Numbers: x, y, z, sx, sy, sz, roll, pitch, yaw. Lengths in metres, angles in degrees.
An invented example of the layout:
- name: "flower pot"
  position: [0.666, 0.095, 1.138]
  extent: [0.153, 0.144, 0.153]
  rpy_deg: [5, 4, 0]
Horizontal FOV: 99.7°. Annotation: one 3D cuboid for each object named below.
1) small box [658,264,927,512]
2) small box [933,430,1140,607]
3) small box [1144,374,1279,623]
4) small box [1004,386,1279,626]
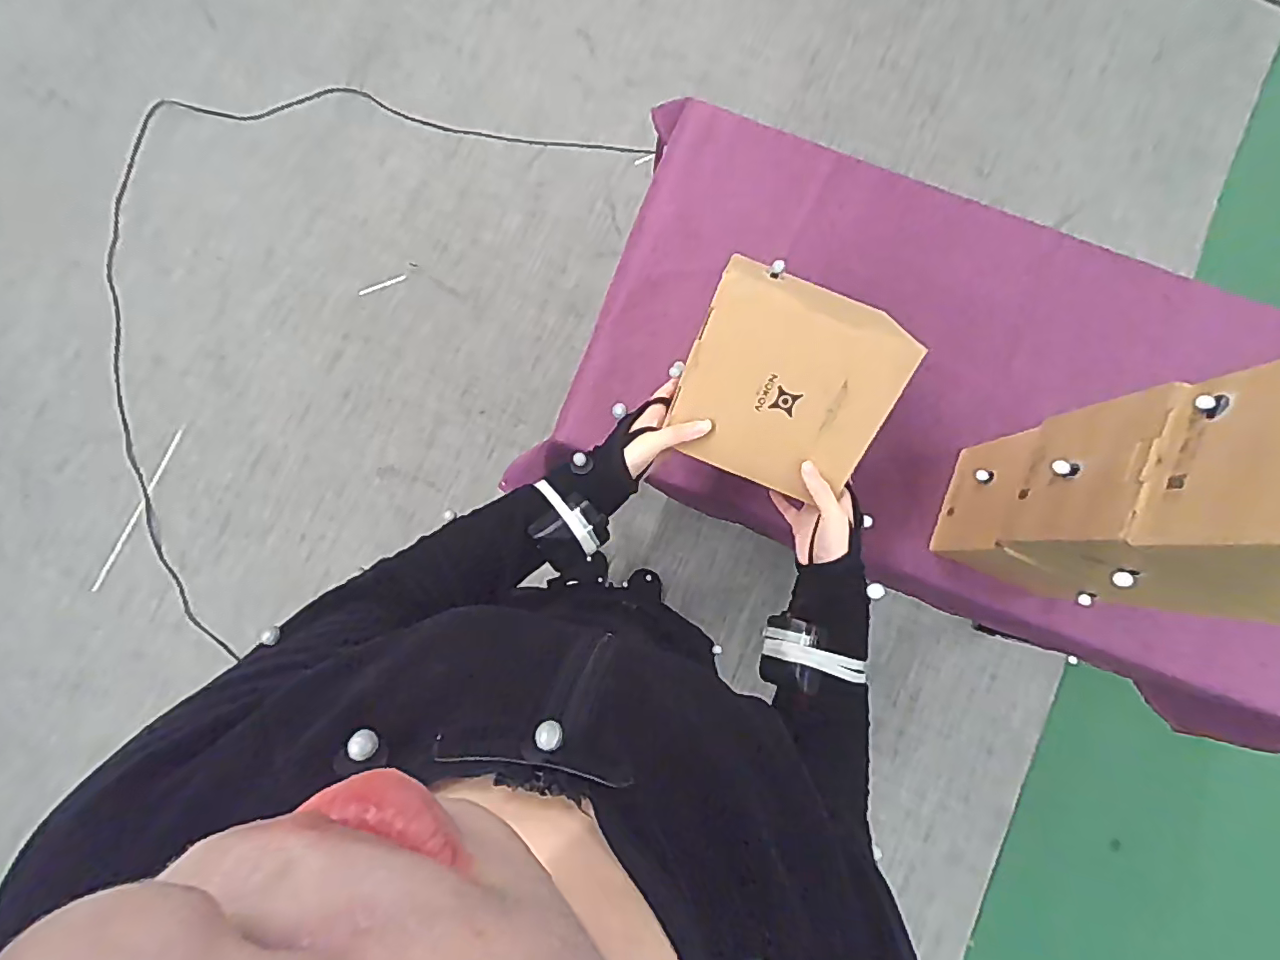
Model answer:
- name: "small box"
  position: [0.138, -0.102, 0.537]
  extent: [0.179, 0.176, 0.168]
  rpy_deg: [22, 119, 1]
- name: "small box"
  position: [0.533, 0.055, 0.723]
  extent: [0.179, 0.176, 0.168]
  rpy_deg: [23, 83, 1]
- name: "small box"
  position: [0.542, 0.018, 0.396]
  extent: [0.179, 0.176, 0.168]
  rpy_deg: [27, 83, 1]
- name: "small box"
  position: [0.530, 0.032, 0.560]
  extent: [0.179, 0.176, 0.168]
  rpy_deg: [27, 84, 2]
